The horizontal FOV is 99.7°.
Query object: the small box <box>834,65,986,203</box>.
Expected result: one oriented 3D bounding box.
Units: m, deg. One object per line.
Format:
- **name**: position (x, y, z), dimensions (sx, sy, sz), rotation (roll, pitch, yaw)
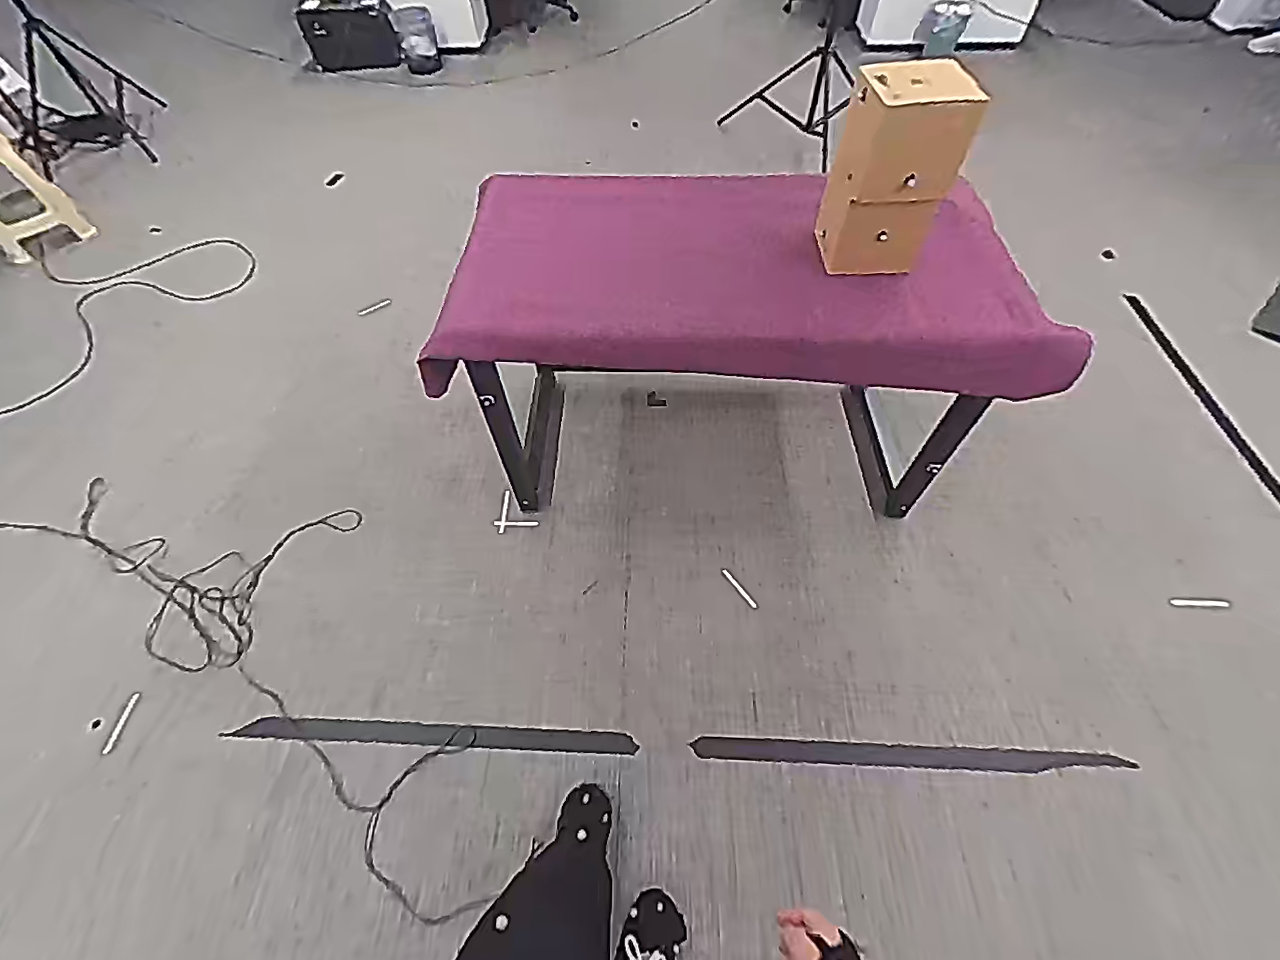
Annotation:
- **small box**: position (0.484, -0.636, 1.001), dimensions (0.179, 0.176, 0.168), rotation (-3, 55, -1)
